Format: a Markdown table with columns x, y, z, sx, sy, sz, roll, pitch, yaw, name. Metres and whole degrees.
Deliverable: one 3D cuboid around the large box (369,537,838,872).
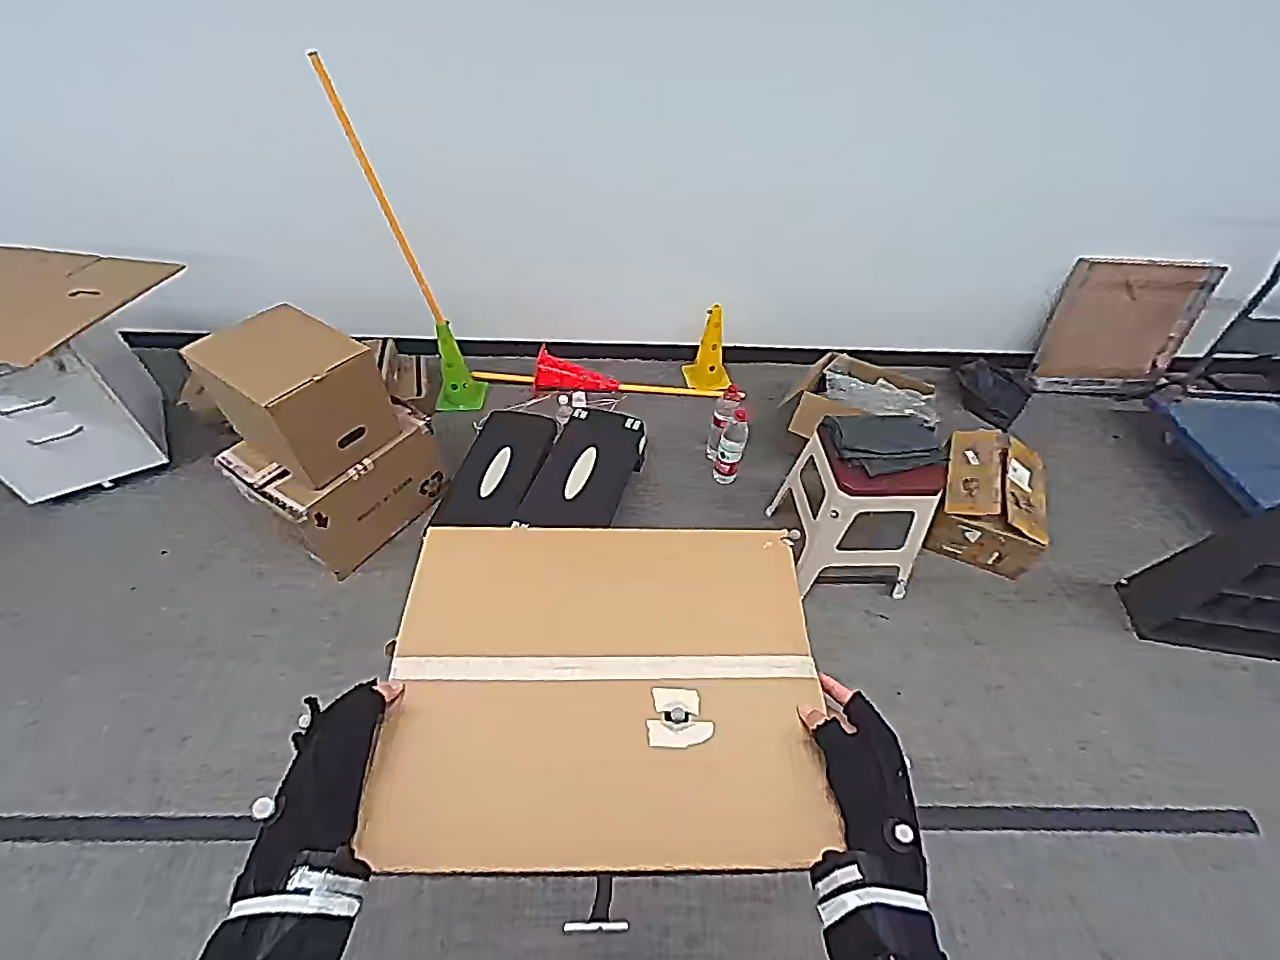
| x | y | z | sx | sy | sz | roll | pitch | yaw | name |
| --- | --- | --- | --- | --- | --- | --- | --- | --- | --- |
| -0.038 | 0.279 | 0.658 | 0.408 | 0.320 | 0.320 | 1 | 54 | -2 | large box |
